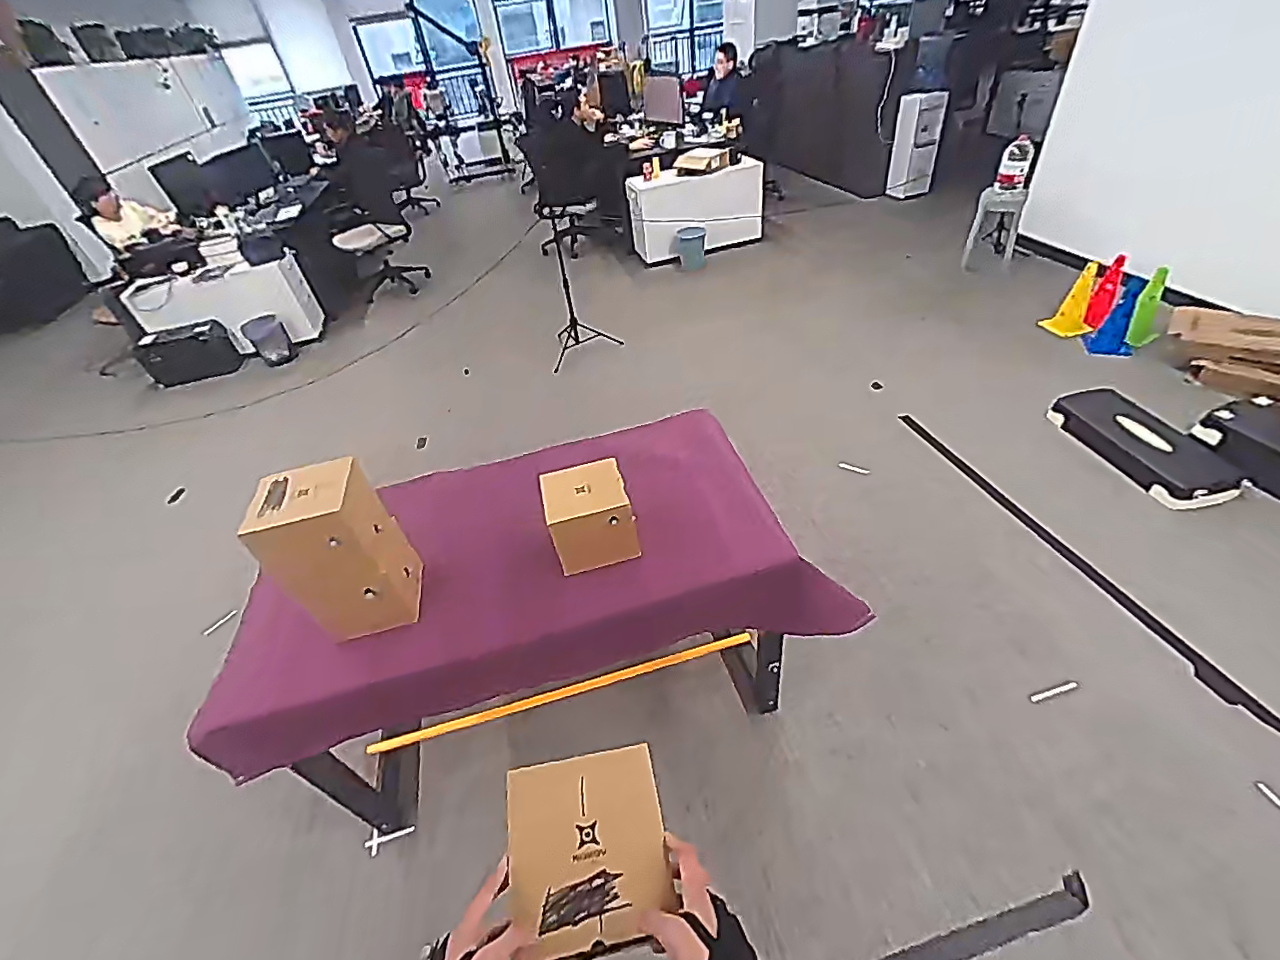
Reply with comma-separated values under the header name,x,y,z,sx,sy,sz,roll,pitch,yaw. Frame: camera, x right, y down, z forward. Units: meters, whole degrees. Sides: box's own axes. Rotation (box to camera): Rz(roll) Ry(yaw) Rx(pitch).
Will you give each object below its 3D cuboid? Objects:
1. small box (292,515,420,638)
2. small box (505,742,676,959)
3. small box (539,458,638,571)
name,x,y,z,sx,sy,sz,roll,pitch,yaw
small box,-0.582,0.205,1.139,0.179,0.176,0.168,-13,41,-5
small box,-0.058,0.431,0.623,0.168,0.176,0.179,-8,48,-8
small box,-0.114,0.080,1.201,0.179,0.176,0.168,-14,41,-6
